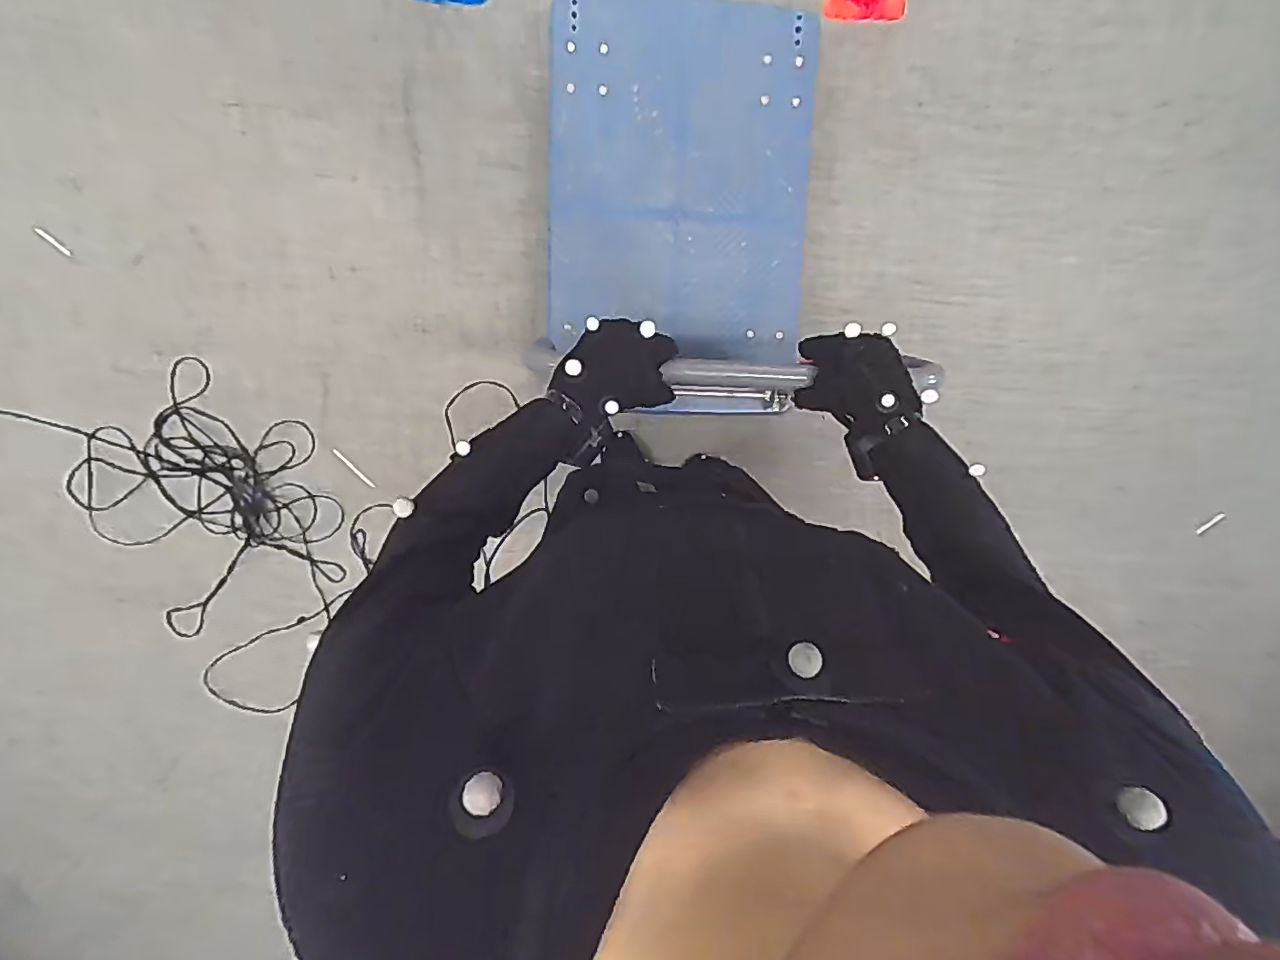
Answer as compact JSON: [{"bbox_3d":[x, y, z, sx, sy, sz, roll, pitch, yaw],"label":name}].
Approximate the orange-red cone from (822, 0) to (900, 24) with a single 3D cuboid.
[{"bbox_3d":[0.549,-1.205,1.153,0.199,0.360,0.198,2,97,-1],"label":"orange-red cone"}]
